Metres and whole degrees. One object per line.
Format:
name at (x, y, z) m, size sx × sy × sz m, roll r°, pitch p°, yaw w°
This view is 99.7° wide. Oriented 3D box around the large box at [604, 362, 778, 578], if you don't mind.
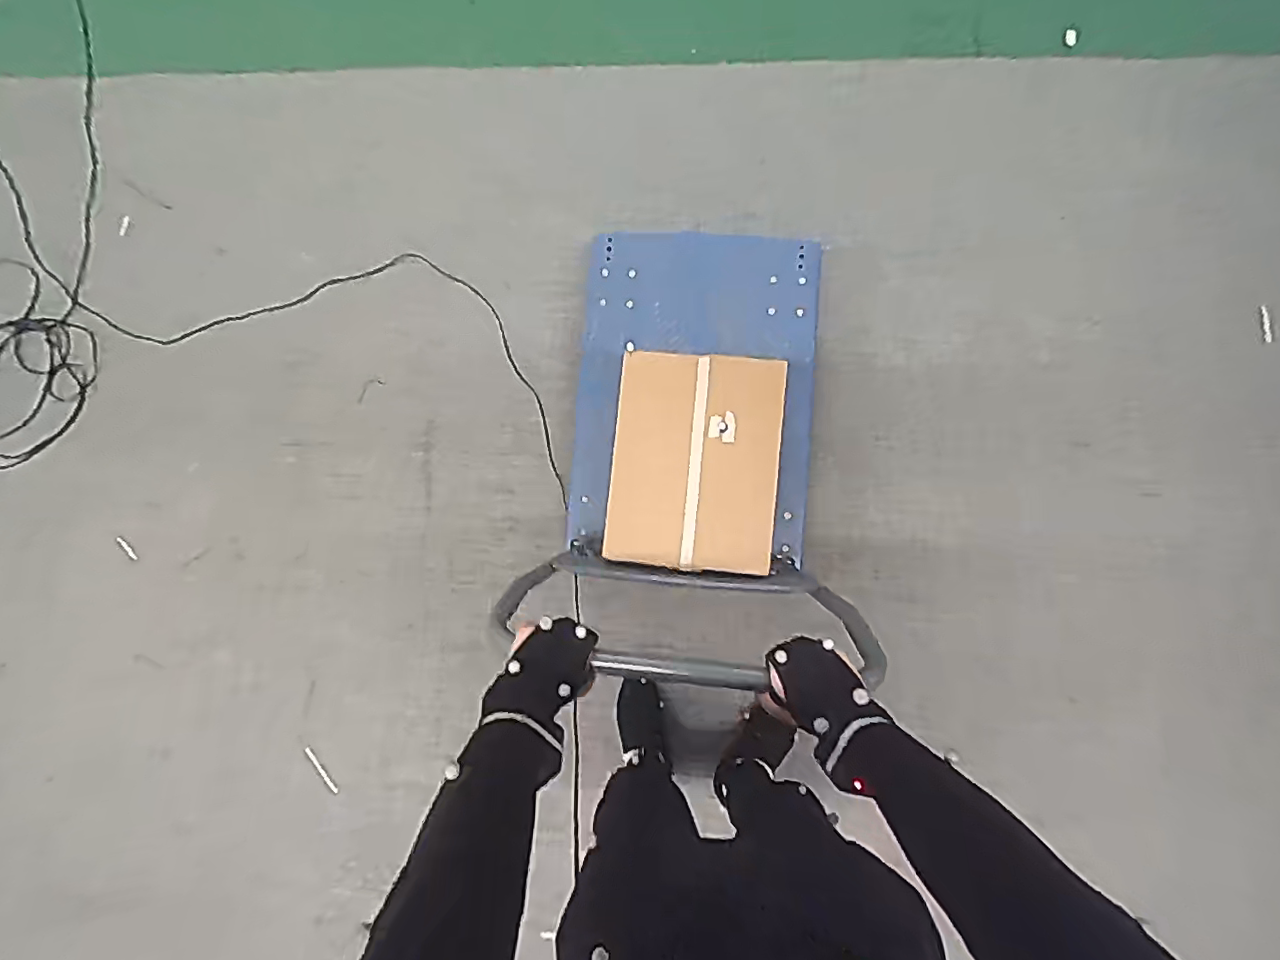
large box at (0.111, -0.010, 1.172) m, size 0.320 × 0.320 × 0.408 m, roll 5°, pitch 86°, yaw 5°
